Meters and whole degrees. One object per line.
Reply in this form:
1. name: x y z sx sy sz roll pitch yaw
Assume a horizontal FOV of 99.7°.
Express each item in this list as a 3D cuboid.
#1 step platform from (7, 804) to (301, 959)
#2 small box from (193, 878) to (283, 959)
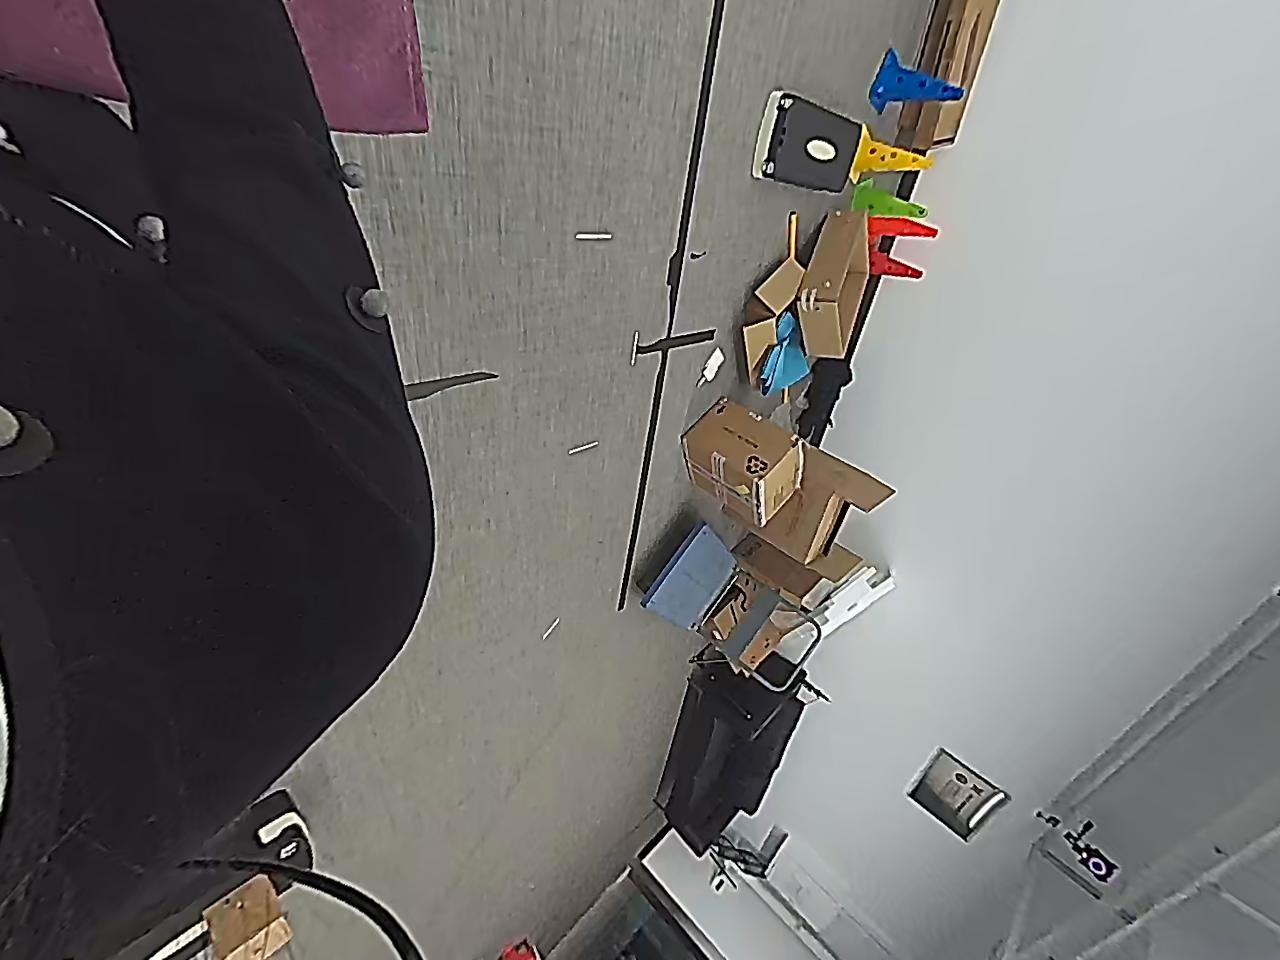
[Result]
1. step platform: -1.450 1.357 1.668 0.684 0.204 0.286 -25 136 -42
2. small box: -1.230 1.380 1.658 0.168 0.176 0.179 -24 135 -43
